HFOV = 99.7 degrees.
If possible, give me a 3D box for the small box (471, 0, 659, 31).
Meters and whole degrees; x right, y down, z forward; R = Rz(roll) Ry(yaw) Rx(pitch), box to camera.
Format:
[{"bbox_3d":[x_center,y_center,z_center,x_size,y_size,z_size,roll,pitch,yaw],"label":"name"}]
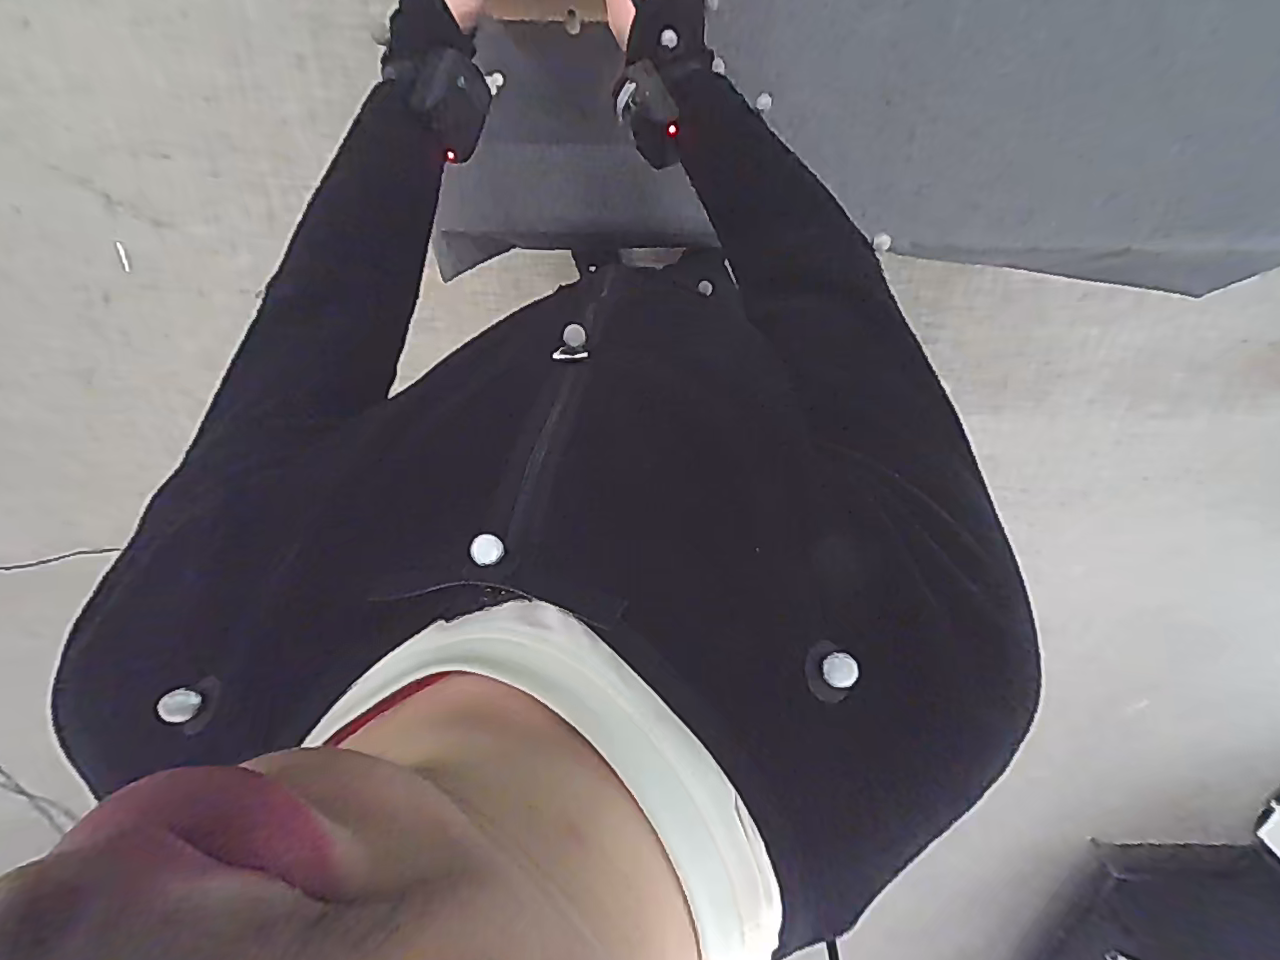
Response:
[{"bbox_3d":[-0.070,-0.535,0.498,0.179,0.176,0.168,0,121,-1],"label":"small box"}]
